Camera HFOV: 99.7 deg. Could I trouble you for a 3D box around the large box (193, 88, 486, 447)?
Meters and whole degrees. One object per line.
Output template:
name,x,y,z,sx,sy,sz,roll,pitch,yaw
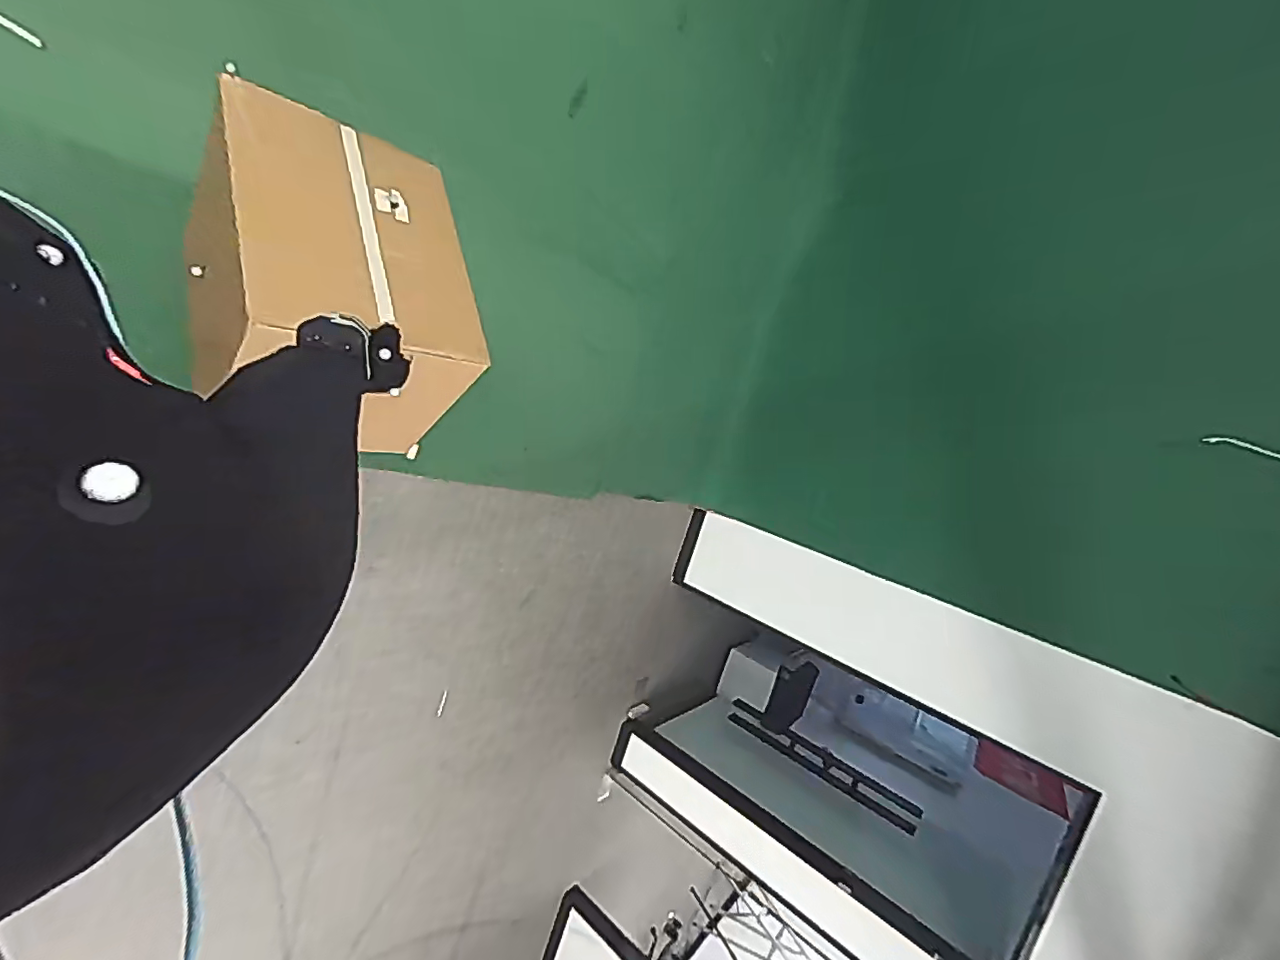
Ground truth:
large box,-0.504,-0.296,0.887,0.320,0.320,0.408,0,66,-48
